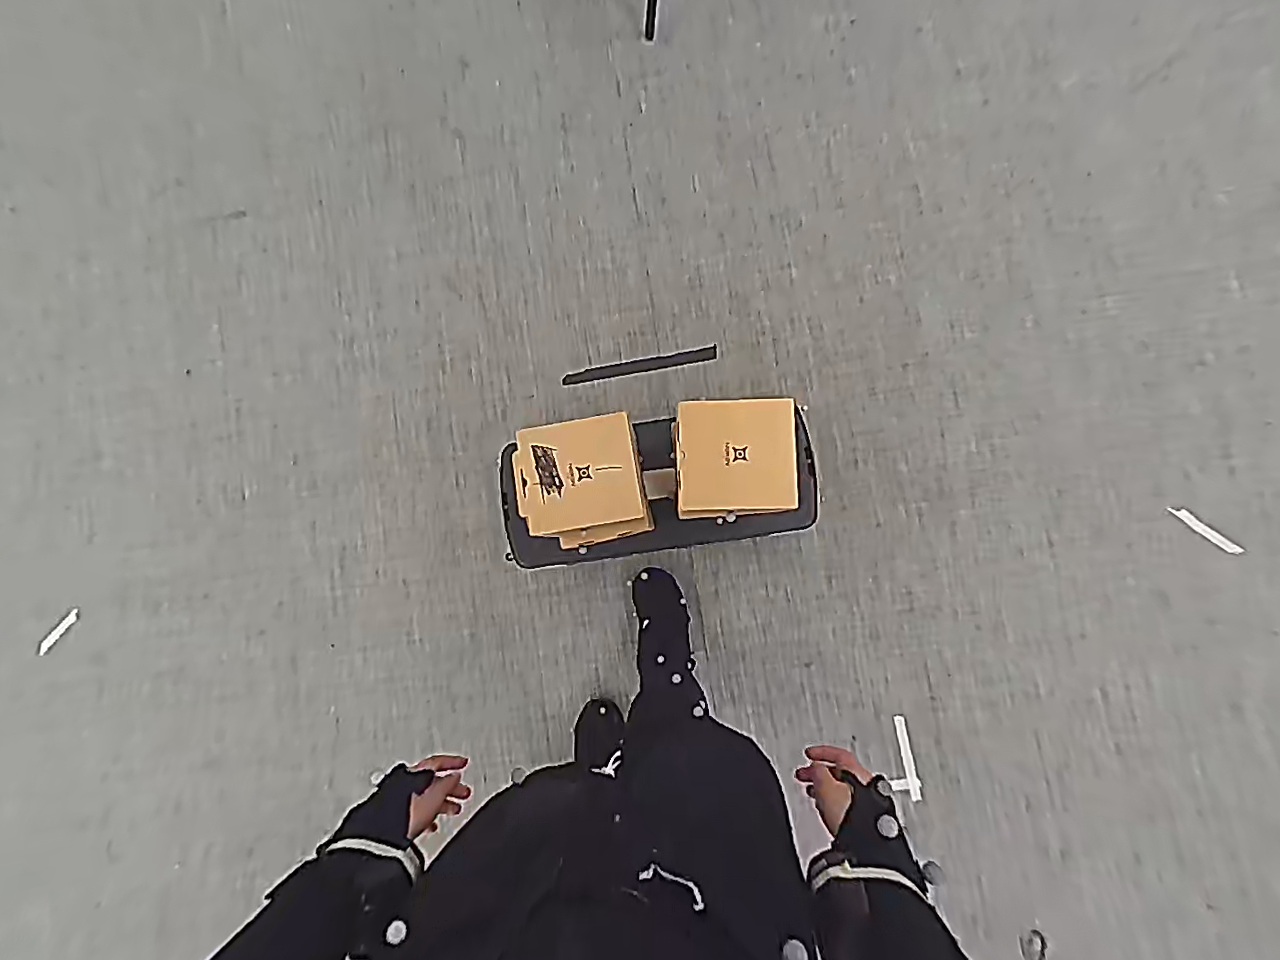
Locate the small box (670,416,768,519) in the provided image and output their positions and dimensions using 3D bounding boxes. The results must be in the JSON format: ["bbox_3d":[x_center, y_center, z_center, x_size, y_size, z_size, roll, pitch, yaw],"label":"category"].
[{"bbox_3d":[0.148,-0.017,1.041,0.168,0.176,0.179,-5,85,4],"label":"small box"}]
